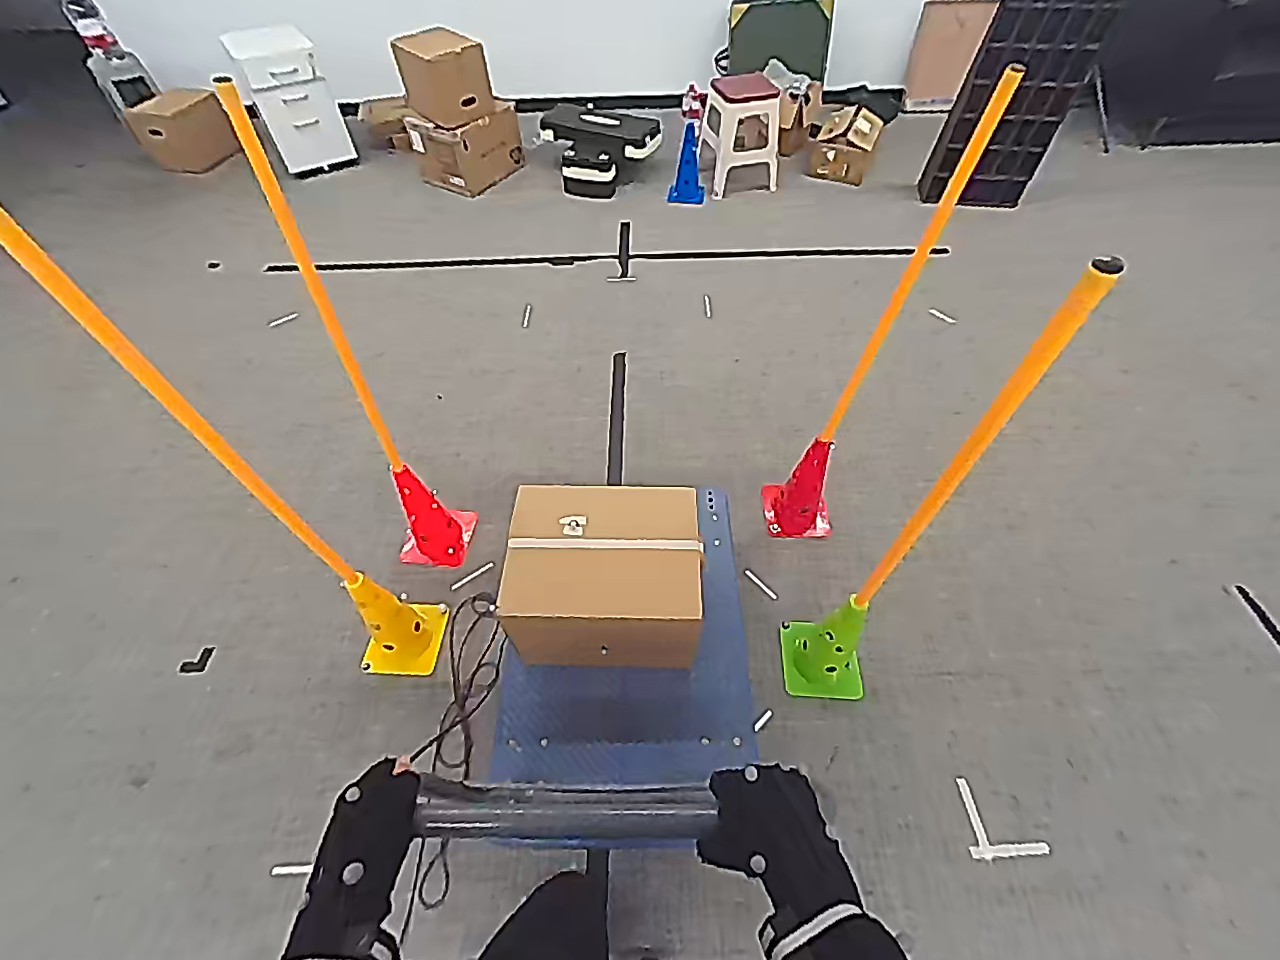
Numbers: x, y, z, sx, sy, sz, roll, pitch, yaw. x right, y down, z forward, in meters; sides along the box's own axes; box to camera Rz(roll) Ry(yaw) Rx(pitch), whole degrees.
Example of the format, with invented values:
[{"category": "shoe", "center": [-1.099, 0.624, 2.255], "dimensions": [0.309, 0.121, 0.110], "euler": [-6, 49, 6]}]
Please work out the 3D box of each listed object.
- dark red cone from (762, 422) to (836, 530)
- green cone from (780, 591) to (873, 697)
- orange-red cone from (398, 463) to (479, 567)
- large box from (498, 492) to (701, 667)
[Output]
[{"category": "dark red cone", "center": [0.502, -0.023, 1.601], "dimensions": [0.201, 0.394, 0.202], "euler": [0, 53, -1]}, {"category": "green cone", "center": [0.483, 0.373, 1.320], "dimensions": [0.202, 0.368, 0.200], "euler": [3, 53, 2]}, {"category": "orange-red cone", "center": [-0.628, 0.075, 1.578], "dimensions": [0.198, 0.360, 0.199], "euler": [6, 52, 5]}, {"category": "large box", "center": [-0.072, 0.239, 1.257], "dimensions": [0.408, 0.320, 0.320], "euler": [0, 53, 3]}]
